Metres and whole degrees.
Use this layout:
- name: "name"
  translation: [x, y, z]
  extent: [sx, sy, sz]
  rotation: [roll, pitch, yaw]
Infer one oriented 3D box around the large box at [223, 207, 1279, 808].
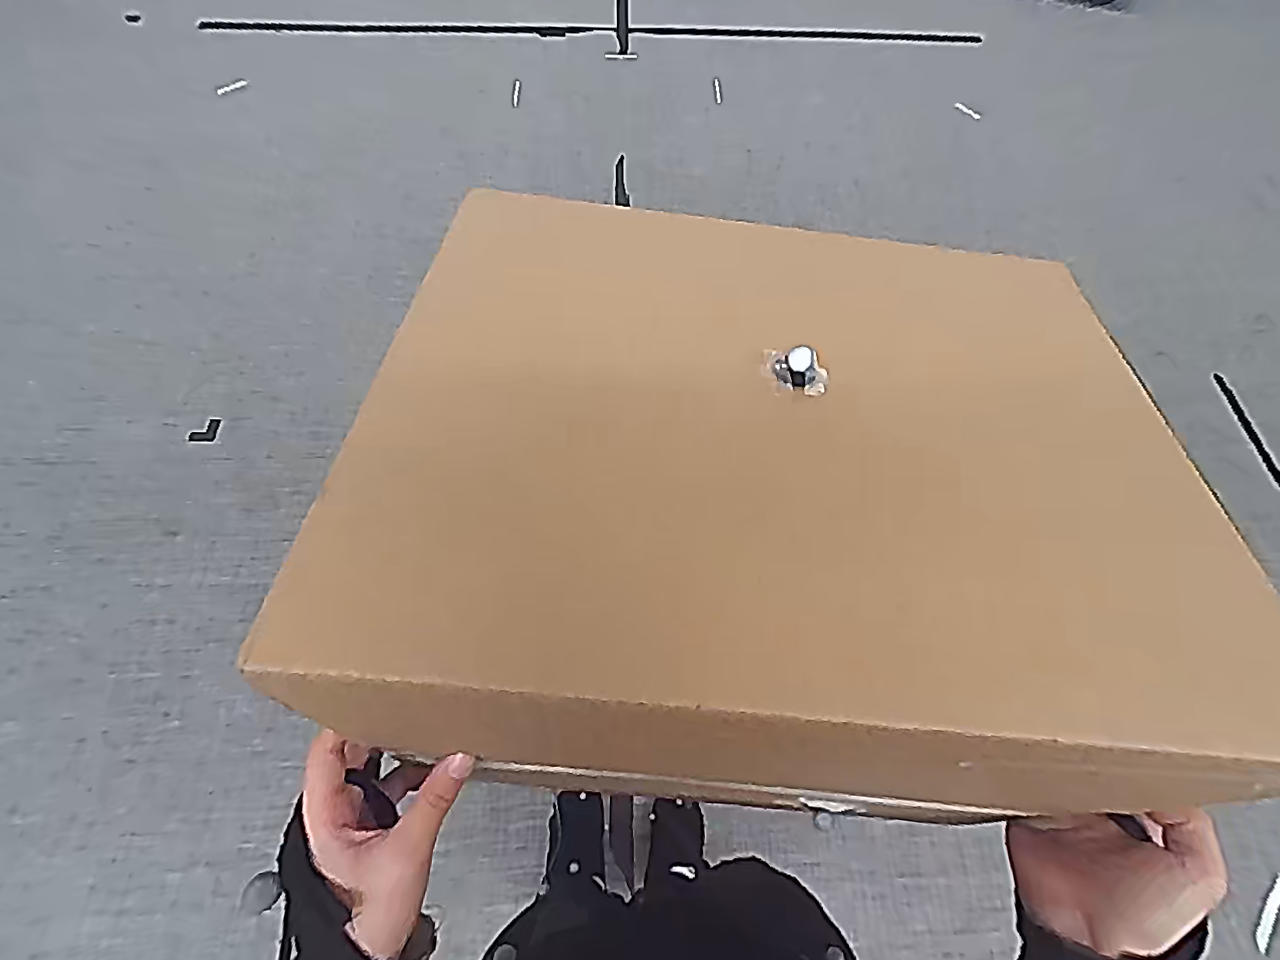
- name: "large box"
  translation: [0.049, 0.039, 0.392]
  extent: [0.408, 0.320, 0.320]
  rotation: [4, 57, -2]
